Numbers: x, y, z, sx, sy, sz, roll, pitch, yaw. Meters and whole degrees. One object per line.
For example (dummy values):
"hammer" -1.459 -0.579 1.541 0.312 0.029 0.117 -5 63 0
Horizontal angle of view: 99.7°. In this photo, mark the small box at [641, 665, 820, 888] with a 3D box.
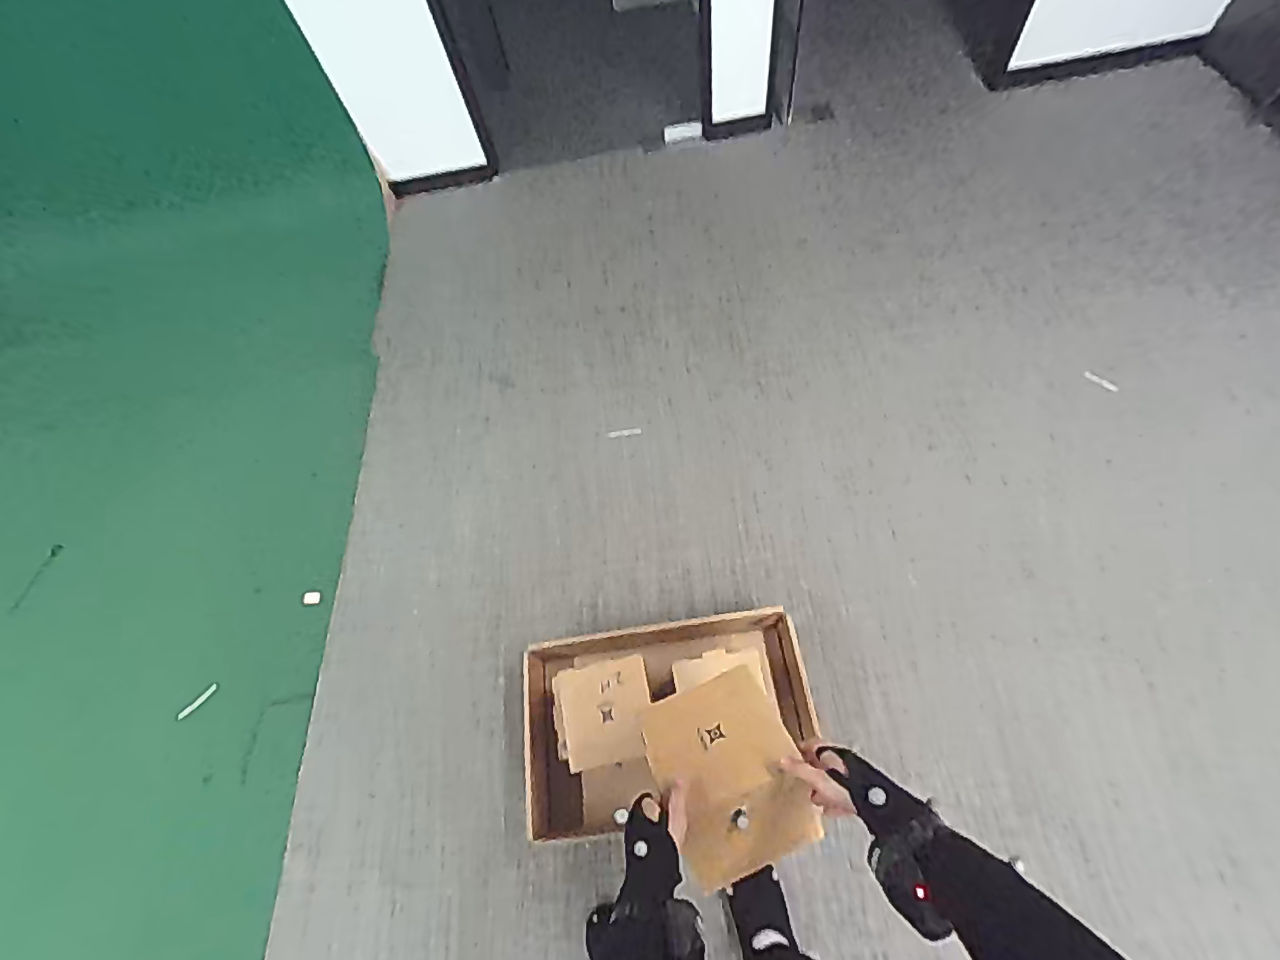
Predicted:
"small box" 0.123 0.394 0.726 0.179 0.176 0.168 -24 28 -4

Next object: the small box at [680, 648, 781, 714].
"small box" 0.178 0.441 1.043 0.168 0.176 0.179 -13 62 4

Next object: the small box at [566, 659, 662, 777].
"small box" -0.039 0.467 1.066 0.168 0.176 0.179 -13 63 0

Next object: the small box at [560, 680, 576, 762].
"small box" -0.069 0.532 1.221 0.179 0.176 0.168 -12 63 0
